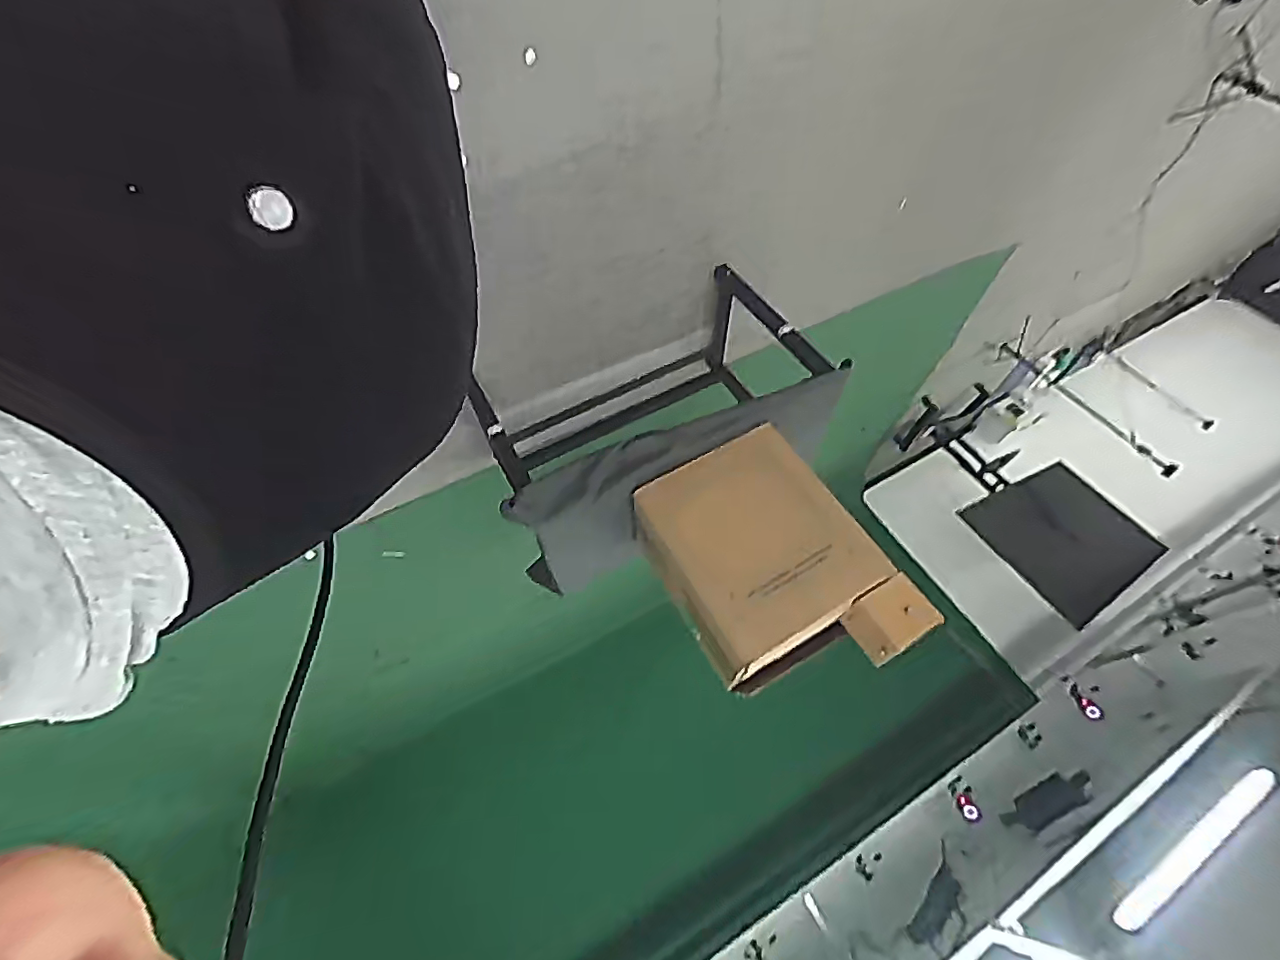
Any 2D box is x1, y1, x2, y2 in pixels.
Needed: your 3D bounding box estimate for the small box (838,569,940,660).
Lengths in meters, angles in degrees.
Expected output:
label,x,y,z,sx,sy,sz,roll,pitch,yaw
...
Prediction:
label,x,y,z,sx,sy,sz,roll,pitch,yaw
small box,0.718,0.388,1.578,0.179,0.176,0.168,-27,151,-18
